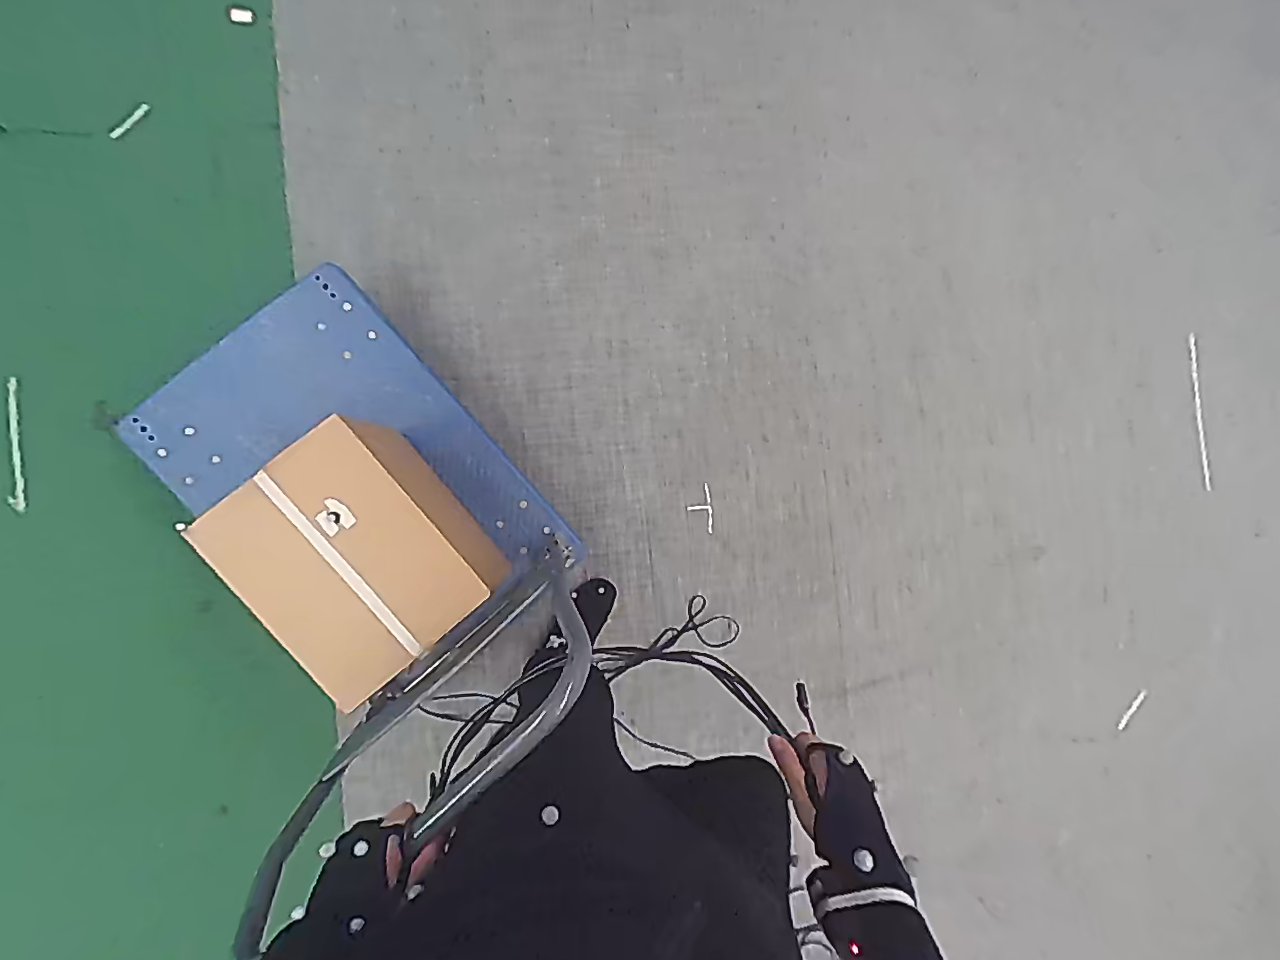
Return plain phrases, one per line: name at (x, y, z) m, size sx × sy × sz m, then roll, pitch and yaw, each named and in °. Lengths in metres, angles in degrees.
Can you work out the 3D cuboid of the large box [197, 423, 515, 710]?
large box at (-0.508, 0.150, 1.066) m, size 0.320 × 0.320 × 0.408 m, roll -40°, pitch 93°, yaw -6°
